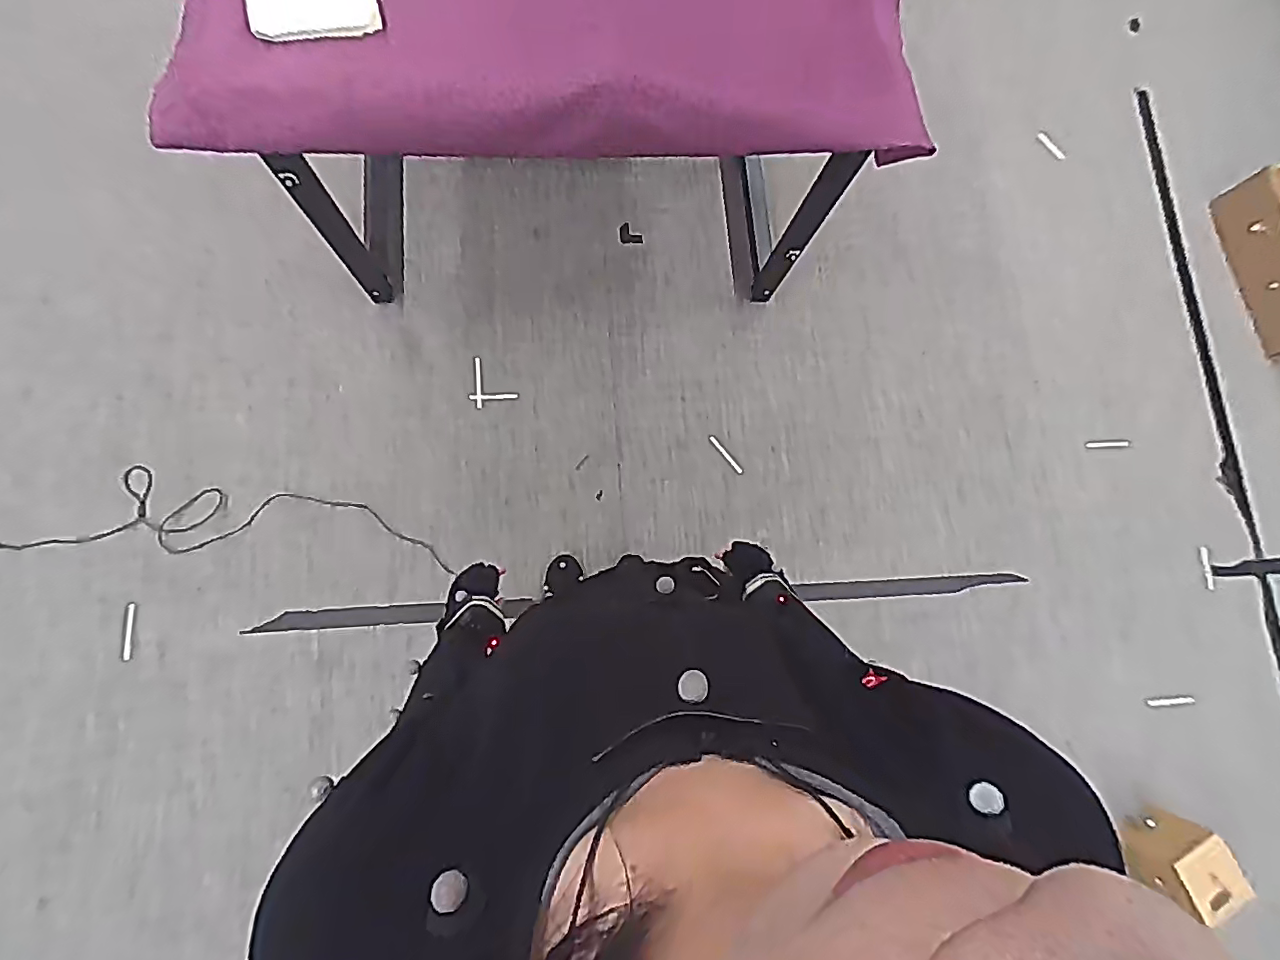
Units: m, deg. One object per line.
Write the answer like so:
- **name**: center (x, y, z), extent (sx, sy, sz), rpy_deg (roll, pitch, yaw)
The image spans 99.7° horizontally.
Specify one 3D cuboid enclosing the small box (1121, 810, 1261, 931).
- **small box**: center (1.485, 1.048, 1.467), extent (0.168, 0.176, 0.179), rpy_deg (-25, 83, -10)
